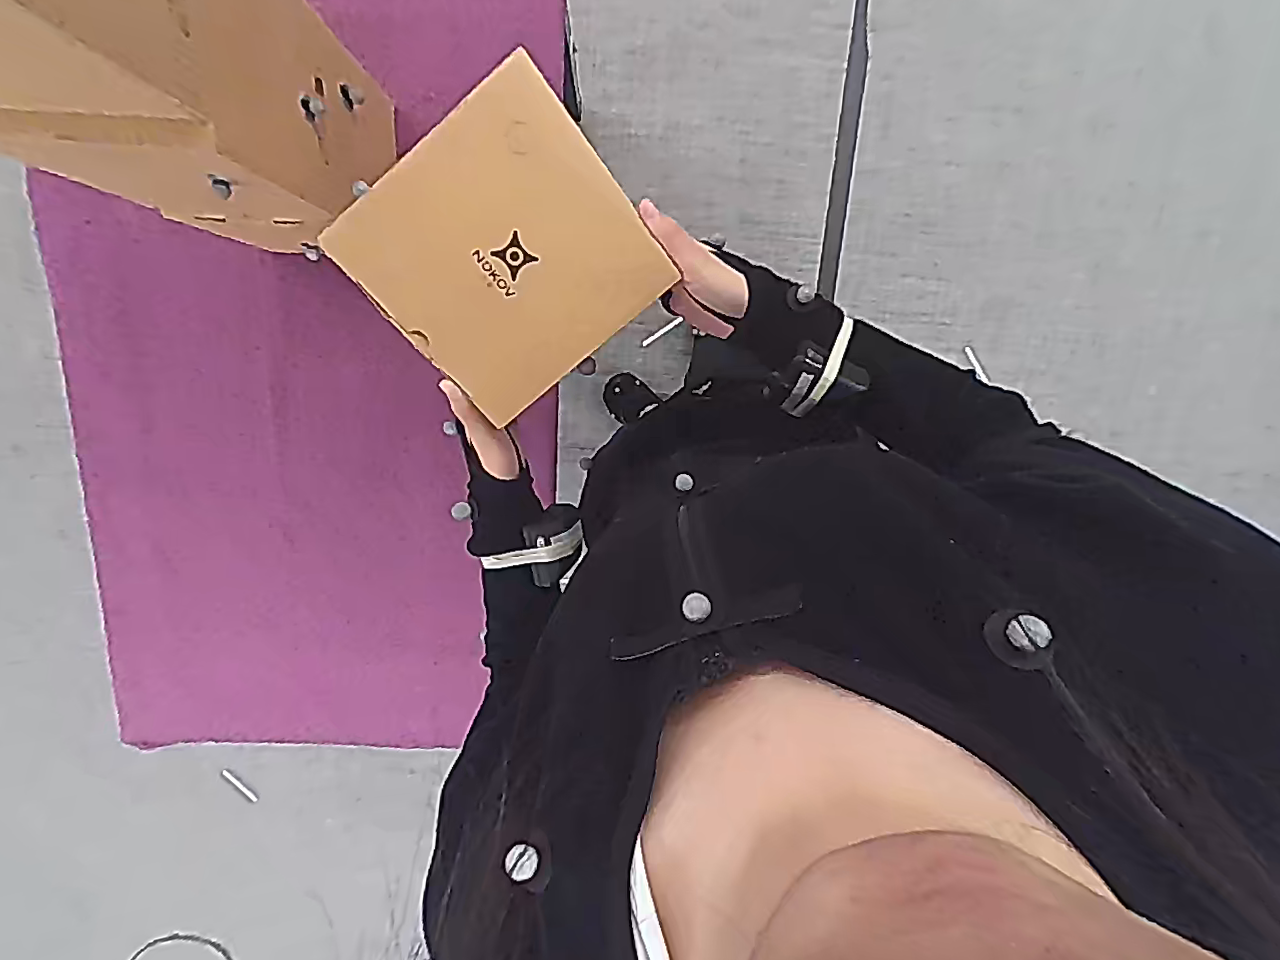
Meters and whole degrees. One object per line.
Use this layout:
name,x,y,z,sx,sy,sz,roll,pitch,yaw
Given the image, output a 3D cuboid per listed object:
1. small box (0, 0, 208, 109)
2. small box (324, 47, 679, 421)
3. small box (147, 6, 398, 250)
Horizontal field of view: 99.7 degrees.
small box,-0.361,-0.304,0.255,0.179,0.176,0.168,1,102,-2
small box,-0.098,-0.181,0.432,0.179,0.176,0.168,-38,113,8
small box,-0.373,-0.355,0.579,0.168,0.176,0.179,2,103,-2
